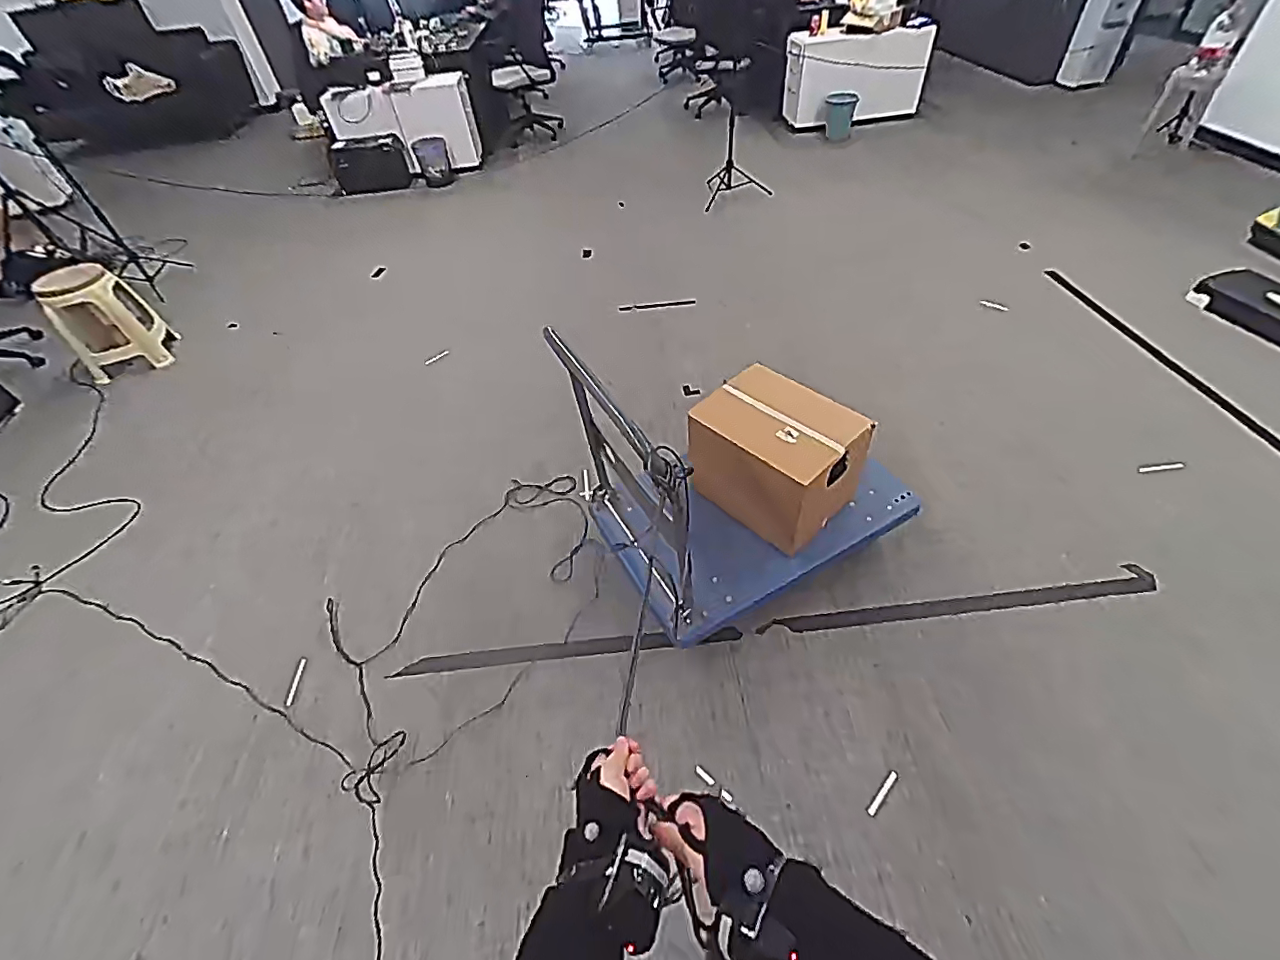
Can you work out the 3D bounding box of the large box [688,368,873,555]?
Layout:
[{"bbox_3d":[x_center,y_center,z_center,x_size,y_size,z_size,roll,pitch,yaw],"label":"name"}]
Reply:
[{"bbox_3d":[0.384,-0.060,1.582,0.320,0.320,0.408,-38,55,-24],"label":"large box"}]
